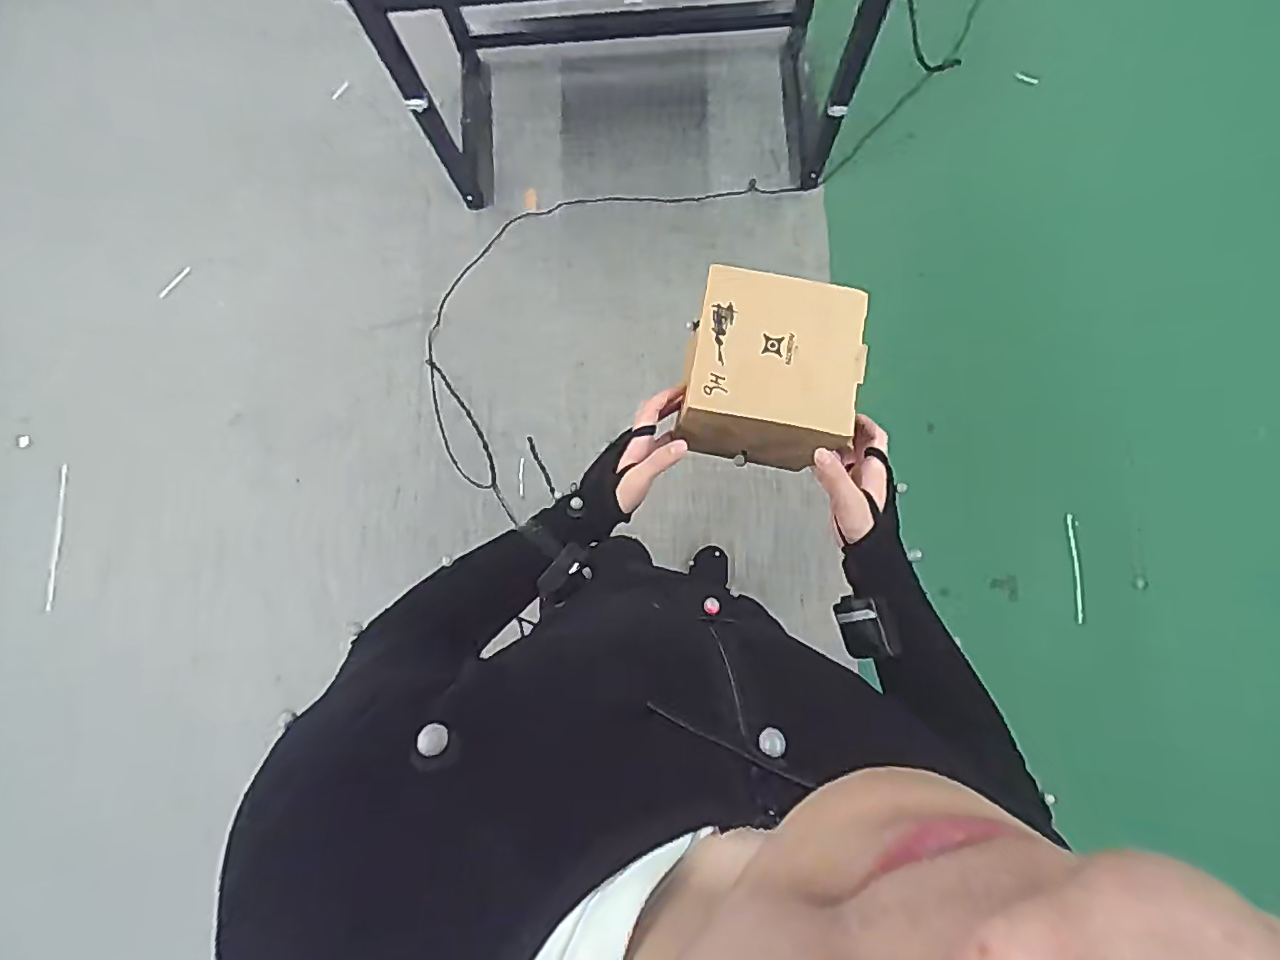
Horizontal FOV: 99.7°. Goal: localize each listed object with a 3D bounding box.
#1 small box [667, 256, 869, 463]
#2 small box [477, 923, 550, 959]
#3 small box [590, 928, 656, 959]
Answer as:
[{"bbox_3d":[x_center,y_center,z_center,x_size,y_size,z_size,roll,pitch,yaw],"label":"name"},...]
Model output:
[{"bbox_3d":[0.138,-0.124,0.630,0.179,0.176,0.168,11,77,-2],"label":"small box"},{"bbox_3d":[-0.328,1.269,1.367,0.168,0.176,0.179,2,82,3],"label":"small box"},{"bbox_3d":[-0.046,1.271,1.354,0.168,0.176,0.179,1,83,3],"label":"small box"}]
